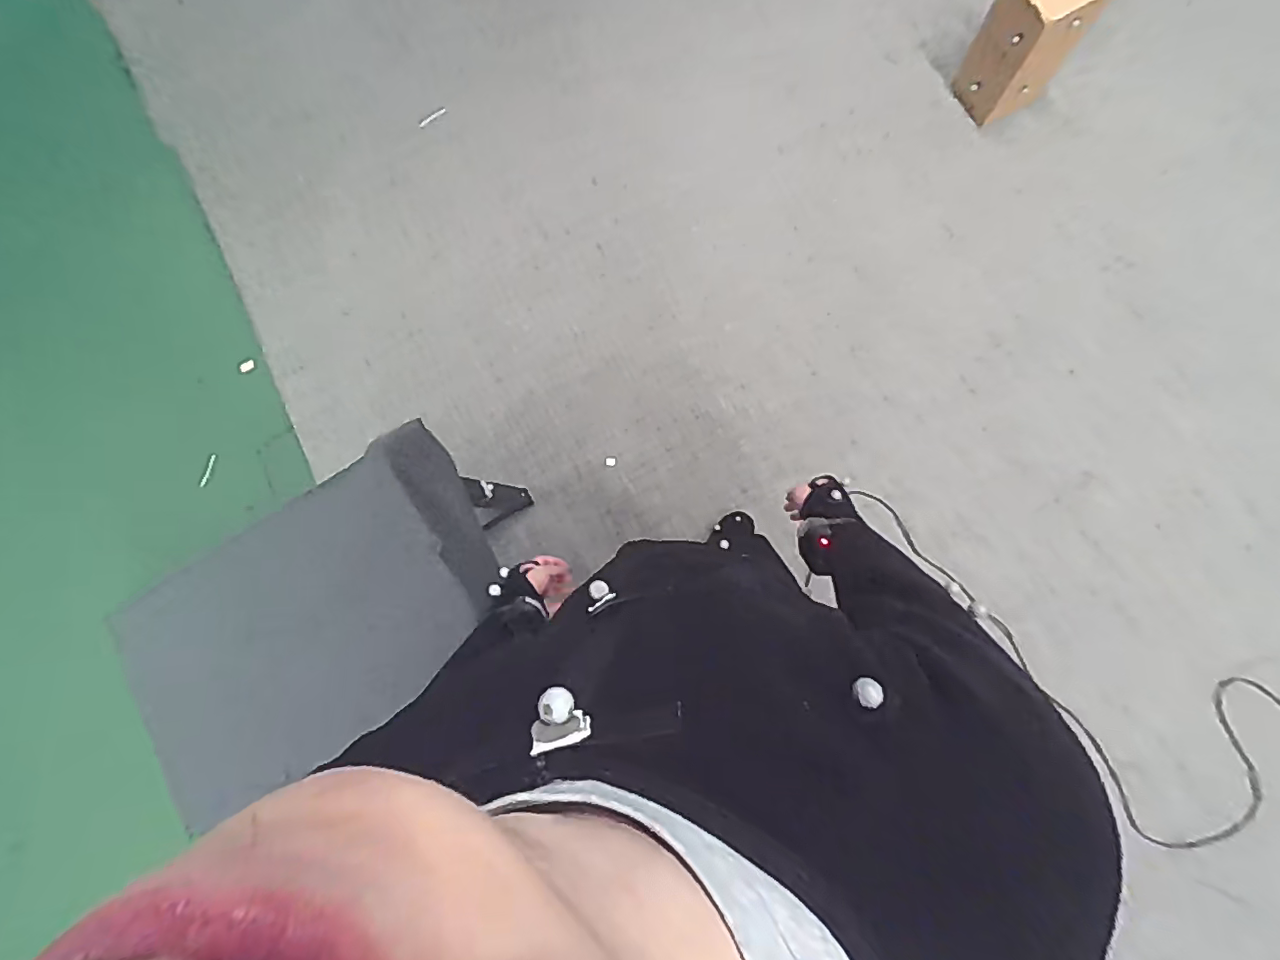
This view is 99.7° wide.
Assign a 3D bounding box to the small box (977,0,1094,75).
[{"bbox_3d":[0.953,-1.138,1.300,0.179,0.176,0.168,-28,83,4],"label":"small box"}]

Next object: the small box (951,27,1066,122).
[{"bbox_3d":[0.978,-1.125,1.461,0.179,0.176,0.168,-28,82,6],"label":"small box"}]
